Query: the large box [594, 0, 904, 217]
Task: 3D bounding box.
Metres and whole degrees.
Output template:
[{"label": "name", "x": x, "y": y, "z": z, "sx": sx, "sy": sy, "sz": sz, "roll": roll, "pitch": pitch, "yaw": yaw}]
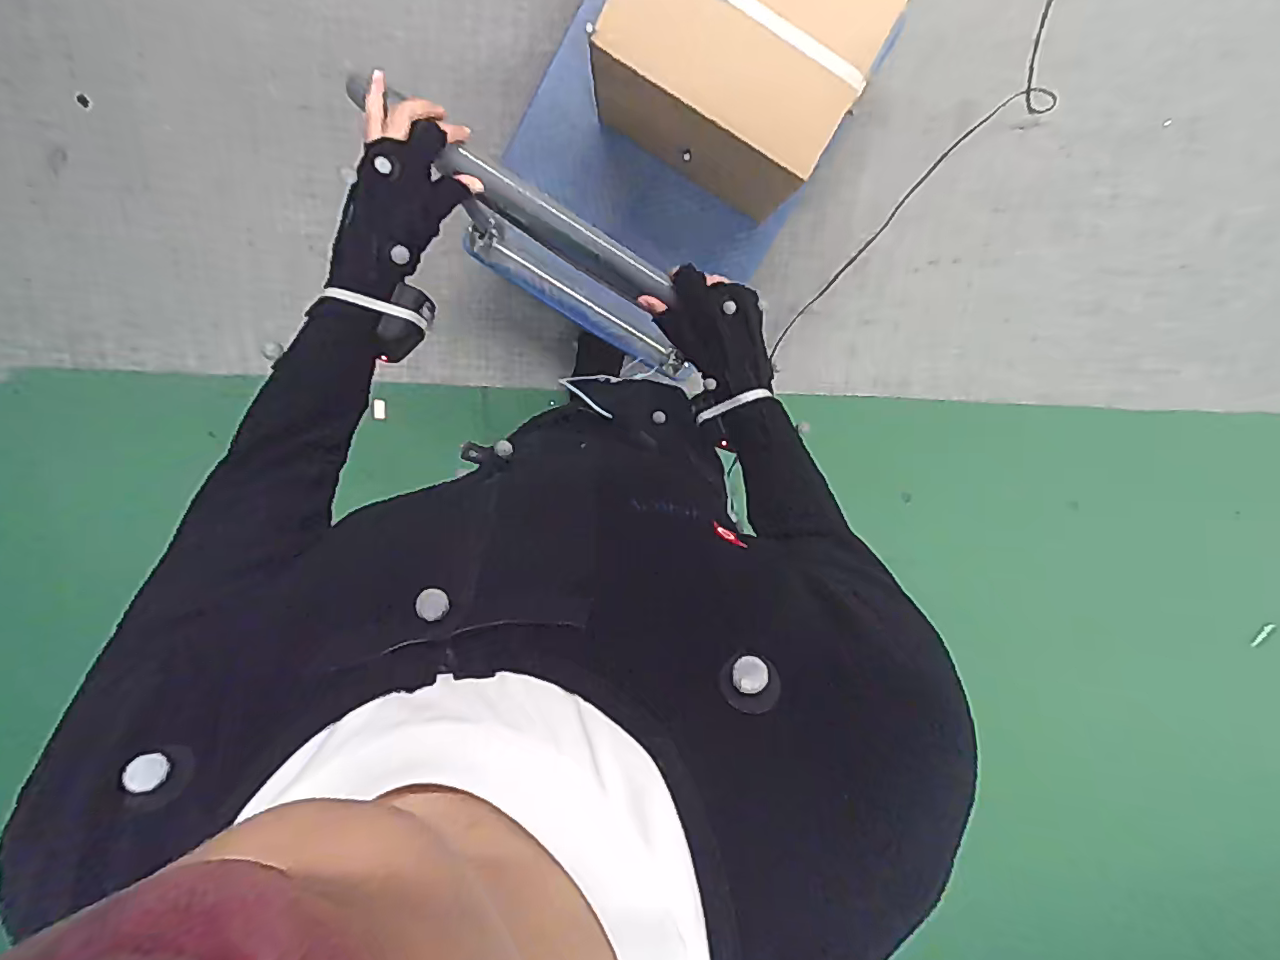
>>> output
[{"label": "large box", "x": 0.172, "y": -0.748, "z": 0.980, "sx": 0.408, "sy": 0.320, "sz": 0.320, "roll": 28, "pitch": 101, "yaw": -7}]
